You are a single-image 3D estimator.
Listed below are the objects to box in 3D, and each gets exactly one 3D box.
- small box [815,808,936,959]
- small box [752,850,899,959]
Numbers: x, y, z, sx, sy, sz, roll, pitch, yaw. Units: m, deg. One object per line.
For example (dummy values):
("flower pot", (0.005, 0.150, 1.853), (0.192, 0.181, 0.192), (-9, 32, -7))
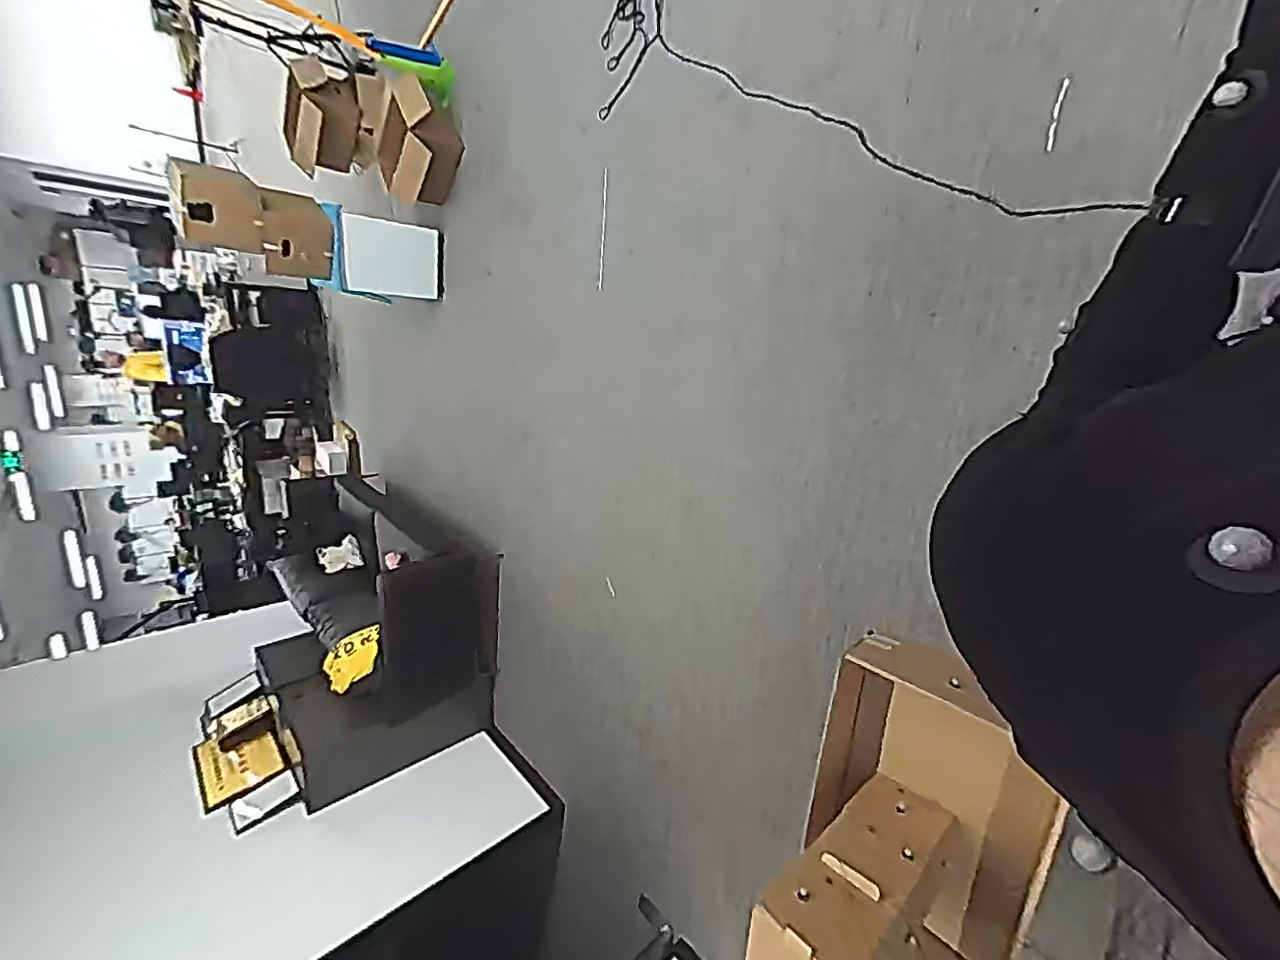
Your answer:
("small box", (0.427, 0.757, 0.997), (0.168, 0.176, 0.179), (12, 104, 45))
("small box", (0.305, 0.768, 0.890), (0.168, 0.176, 0.179), (16, 106, 45))
